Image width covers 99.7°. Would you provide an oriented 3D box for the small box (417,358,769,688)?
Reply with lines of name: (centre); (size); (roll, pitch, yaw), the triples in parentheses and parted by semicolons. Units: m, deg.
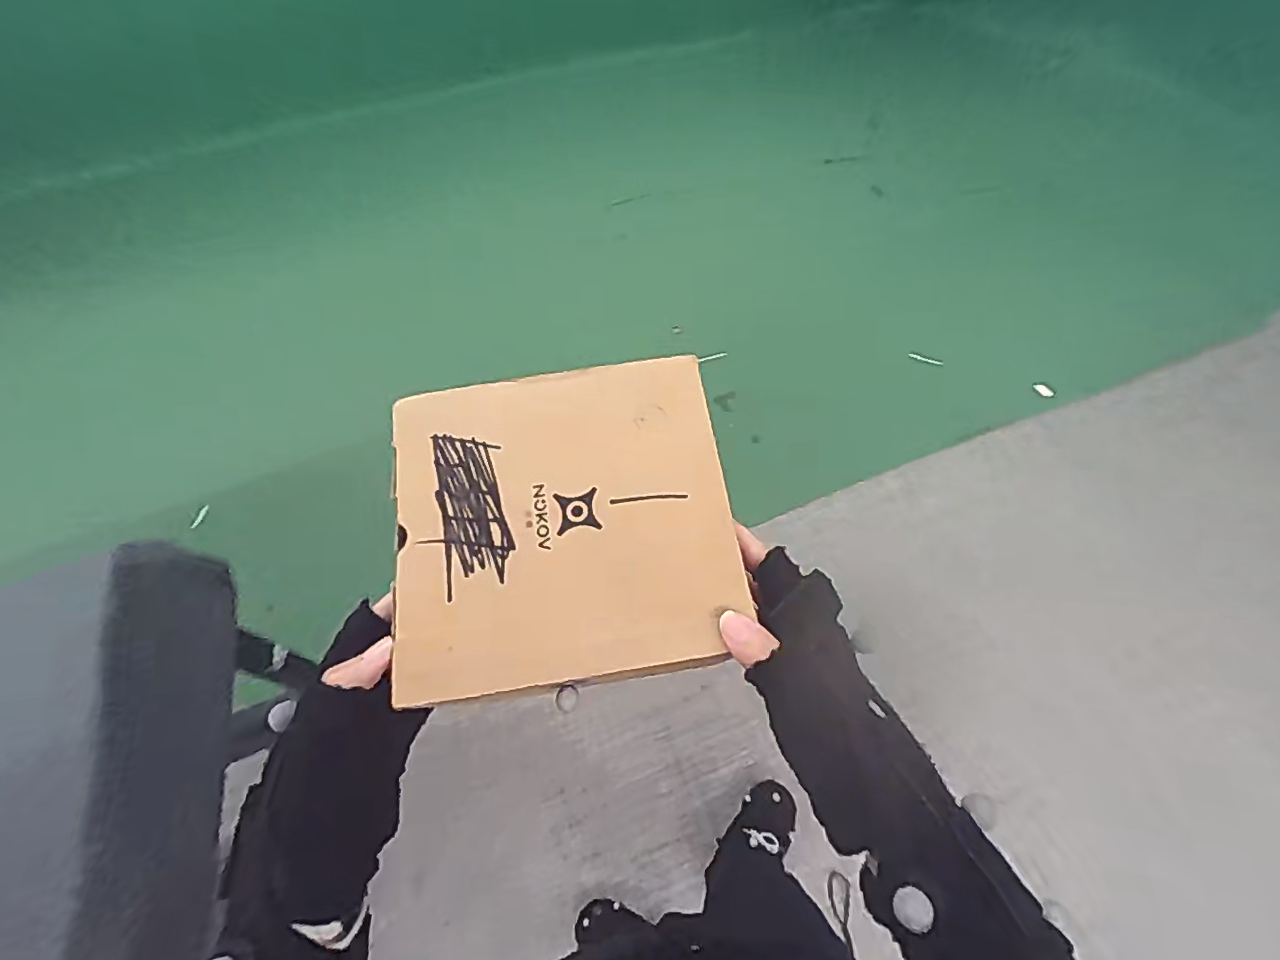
small box: (-0.029, 0.043, 0.364); (0.179, 0.176, 0.168); (-8, 70, -2)
